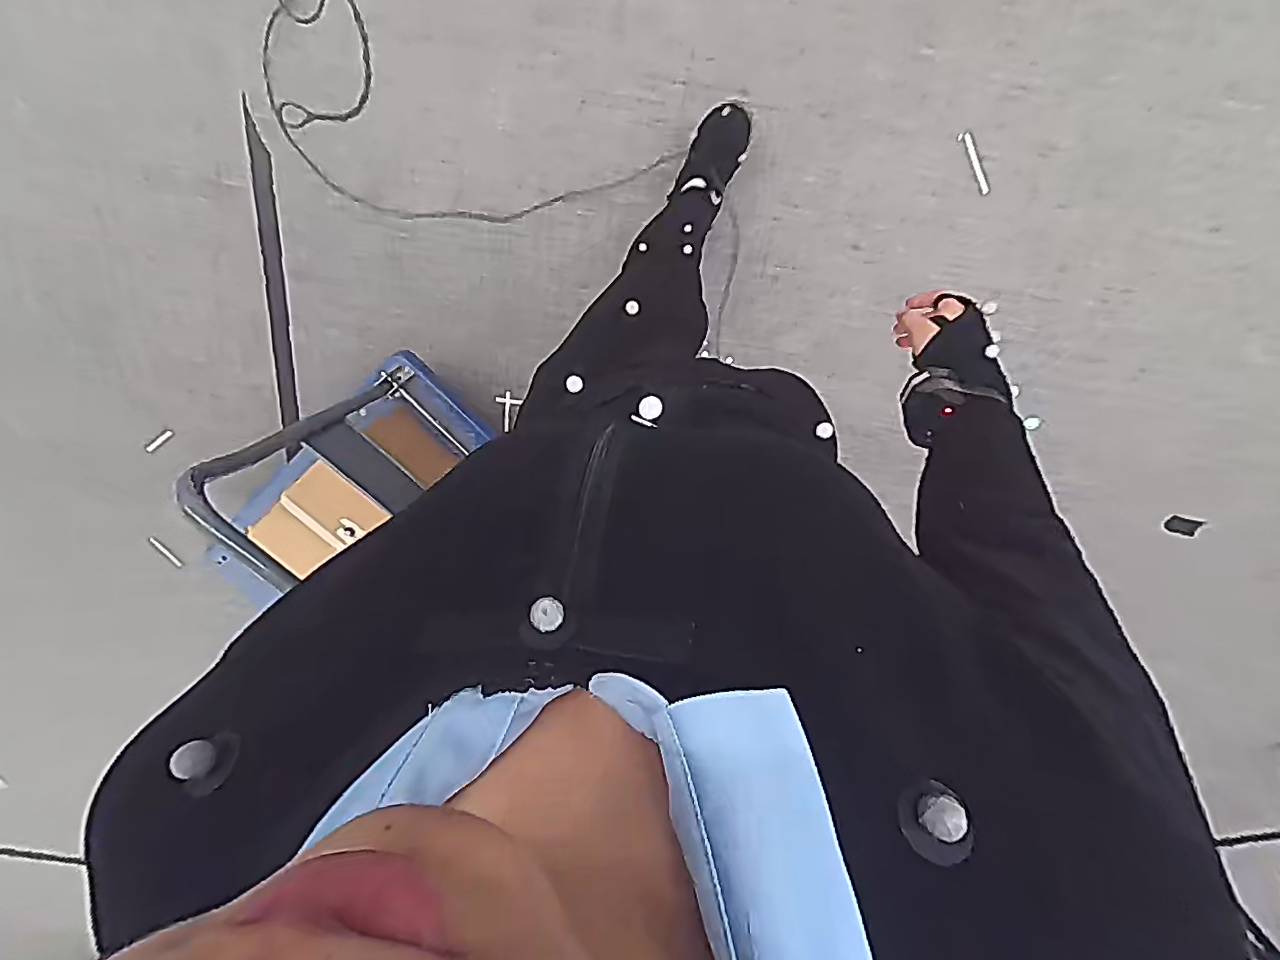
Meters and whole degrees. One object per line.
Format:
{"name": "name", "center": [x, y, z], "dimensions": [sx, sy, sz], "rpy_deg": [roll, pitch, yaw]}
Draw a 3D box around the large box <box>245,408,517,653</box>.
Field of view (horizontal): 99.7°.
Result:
{"name": "large box", "center": [-0.563, 0.108, 1.256], "dimensions": [0.320, 0.320, 0.408], "rpy_deg": [-38, 107, 16]}
